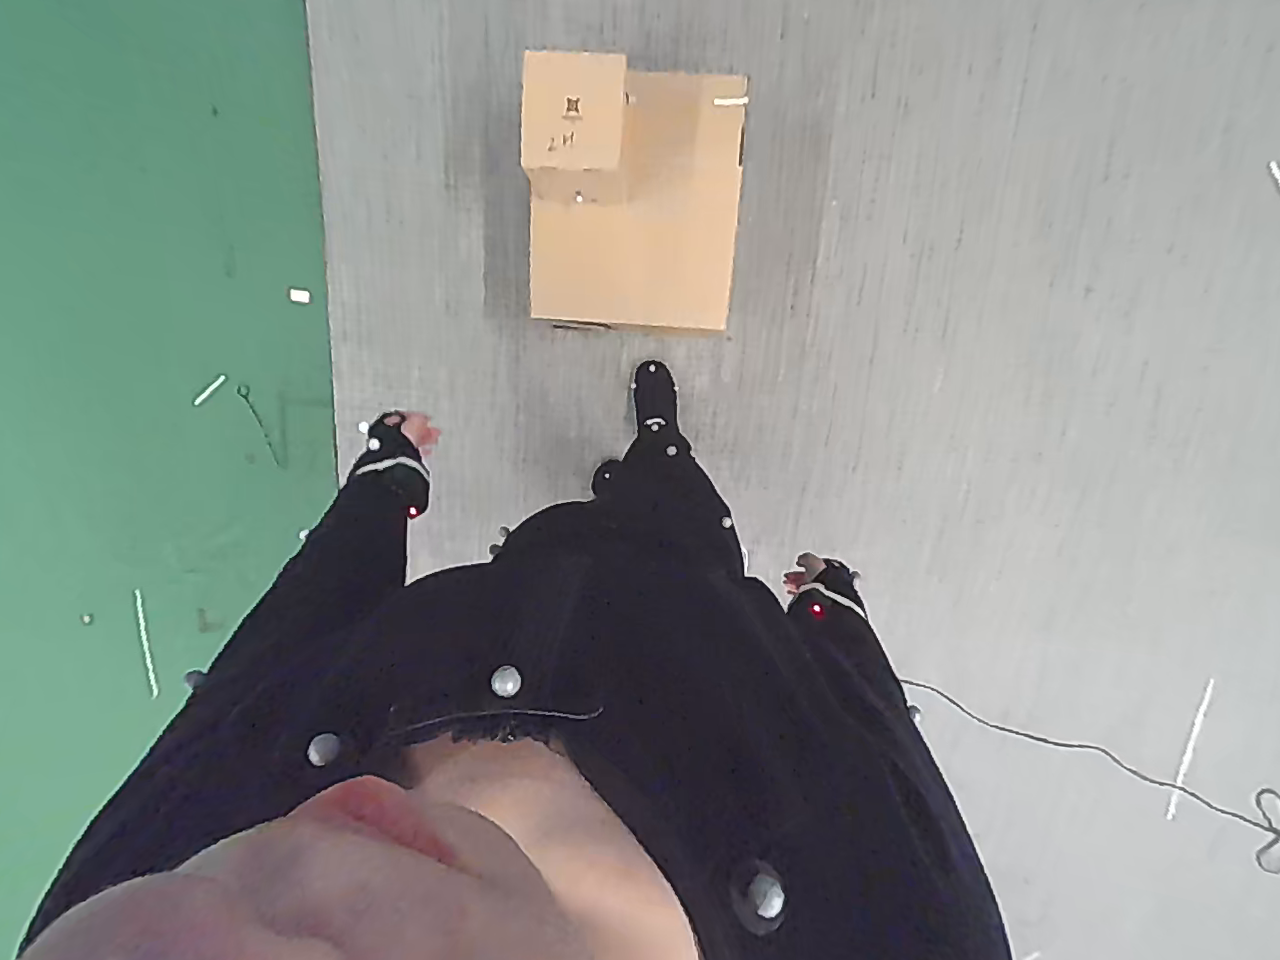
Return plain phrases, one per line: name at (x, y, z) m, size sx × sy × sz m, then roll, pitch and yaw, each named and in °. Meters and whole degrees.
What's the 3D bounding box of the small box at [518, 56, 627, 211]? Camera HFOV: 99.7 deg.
small box at (-0.112, -0.602, 0.958) m, size 0.168 × 0.176 × 0.179 m, roll 4°, pitch 100°, yaw 2°
